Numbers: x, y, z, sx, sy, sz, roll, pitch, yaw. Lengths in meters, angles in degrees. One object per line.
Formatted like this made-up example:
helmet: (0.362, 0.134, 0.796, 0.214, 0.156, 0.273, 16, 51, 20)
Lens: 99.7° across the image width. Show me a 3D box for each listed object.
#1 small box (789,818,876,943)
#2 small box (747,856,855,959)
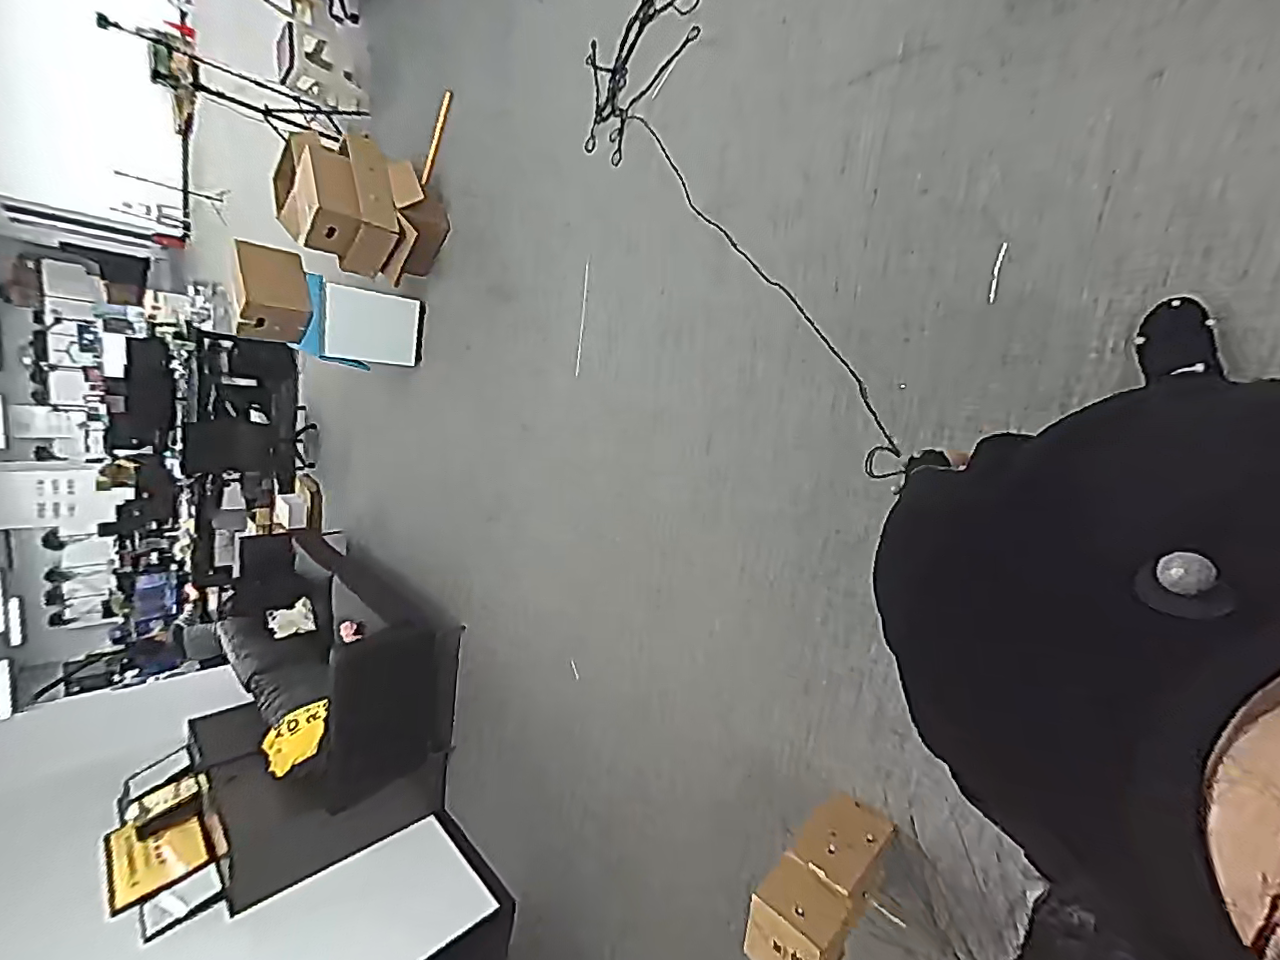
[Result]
small box: (0.488, 1.021, 1.388, 0.168, 0.176, 0.179, 14, 102, 43)
small box: (0.379, 1.037, 1.265, 0.179, 0.176, 0.168, 15, 104, 43)
